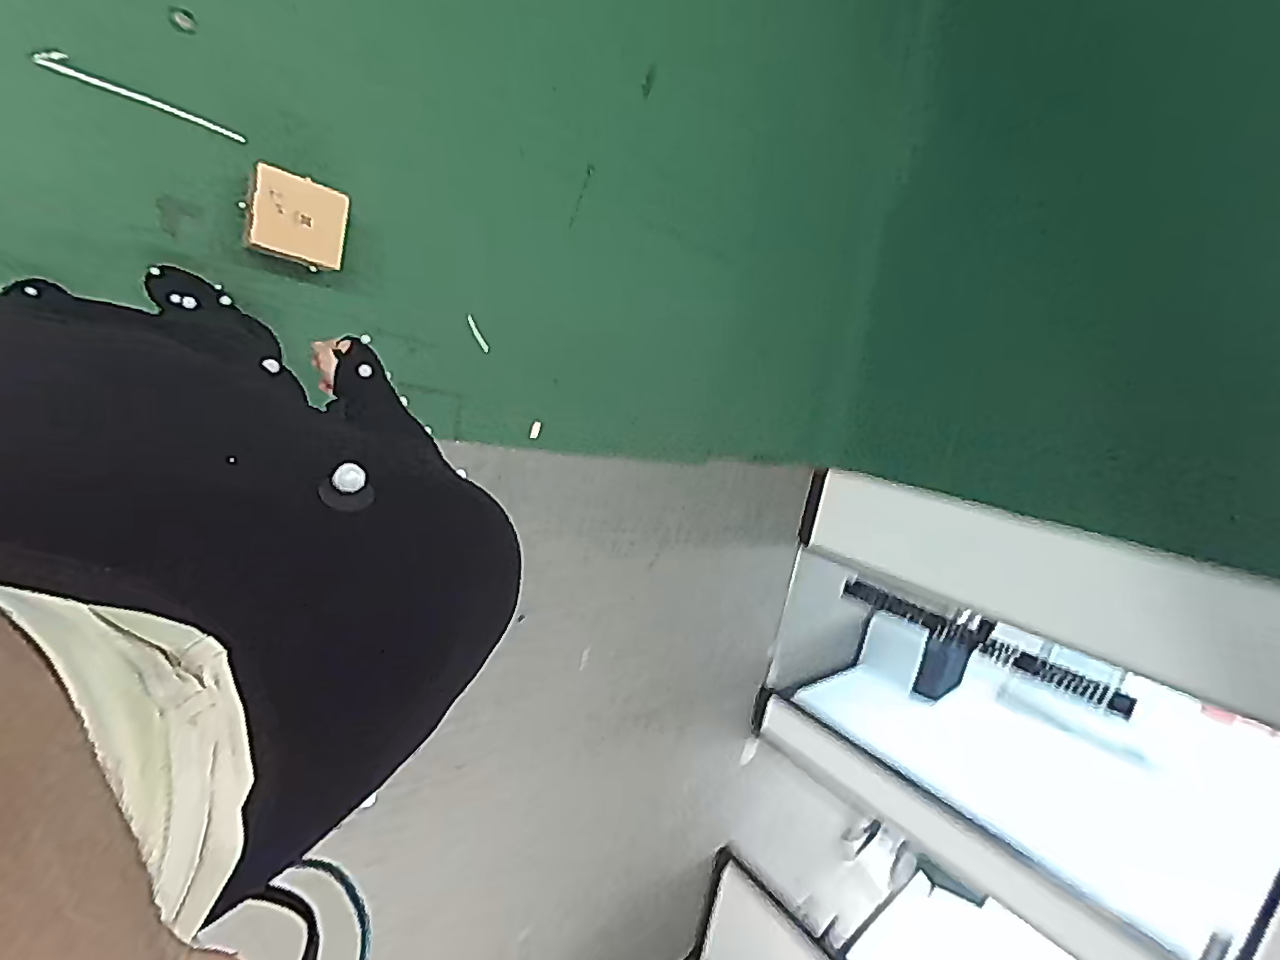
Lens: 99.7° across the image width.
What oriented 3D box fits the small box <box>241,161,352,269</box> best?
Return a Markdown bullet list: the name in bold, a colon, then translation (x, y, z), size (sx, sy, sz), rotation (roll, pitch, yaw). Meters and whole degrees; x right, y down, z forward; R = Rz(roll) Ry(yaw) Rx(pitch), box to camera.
- **small box**: translation (-0.792, -0.599, 1.243), size (0.179, 0.176, 0.168), rotation (7, 101, -43)
